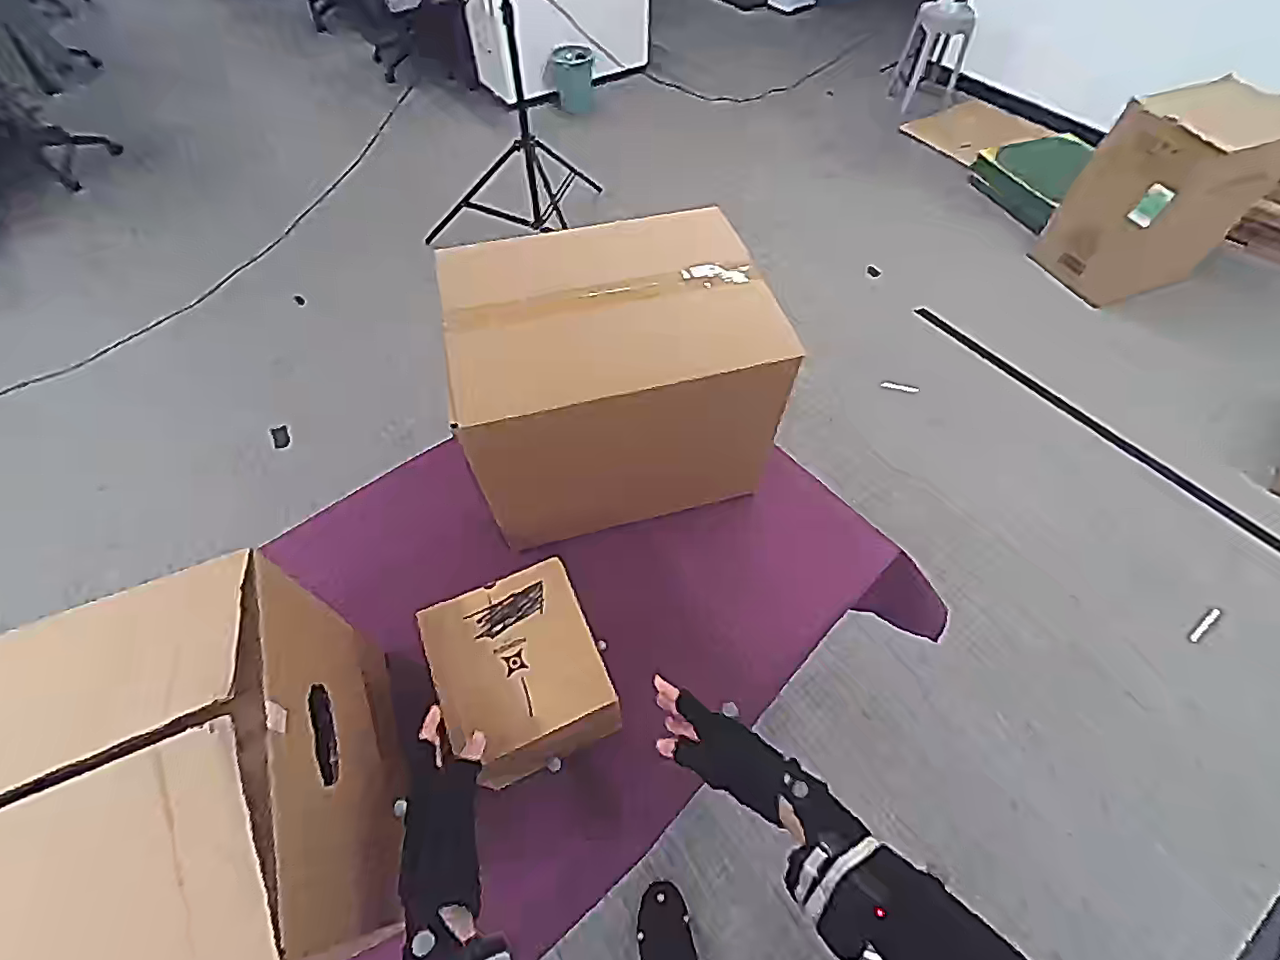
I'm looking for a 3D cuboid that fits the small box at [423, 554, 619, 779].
[{"bbox_3d":[-0.132,0.222,0.635,0.168,0.176,0.179,-21,59,-13],"label":"small box"}]
